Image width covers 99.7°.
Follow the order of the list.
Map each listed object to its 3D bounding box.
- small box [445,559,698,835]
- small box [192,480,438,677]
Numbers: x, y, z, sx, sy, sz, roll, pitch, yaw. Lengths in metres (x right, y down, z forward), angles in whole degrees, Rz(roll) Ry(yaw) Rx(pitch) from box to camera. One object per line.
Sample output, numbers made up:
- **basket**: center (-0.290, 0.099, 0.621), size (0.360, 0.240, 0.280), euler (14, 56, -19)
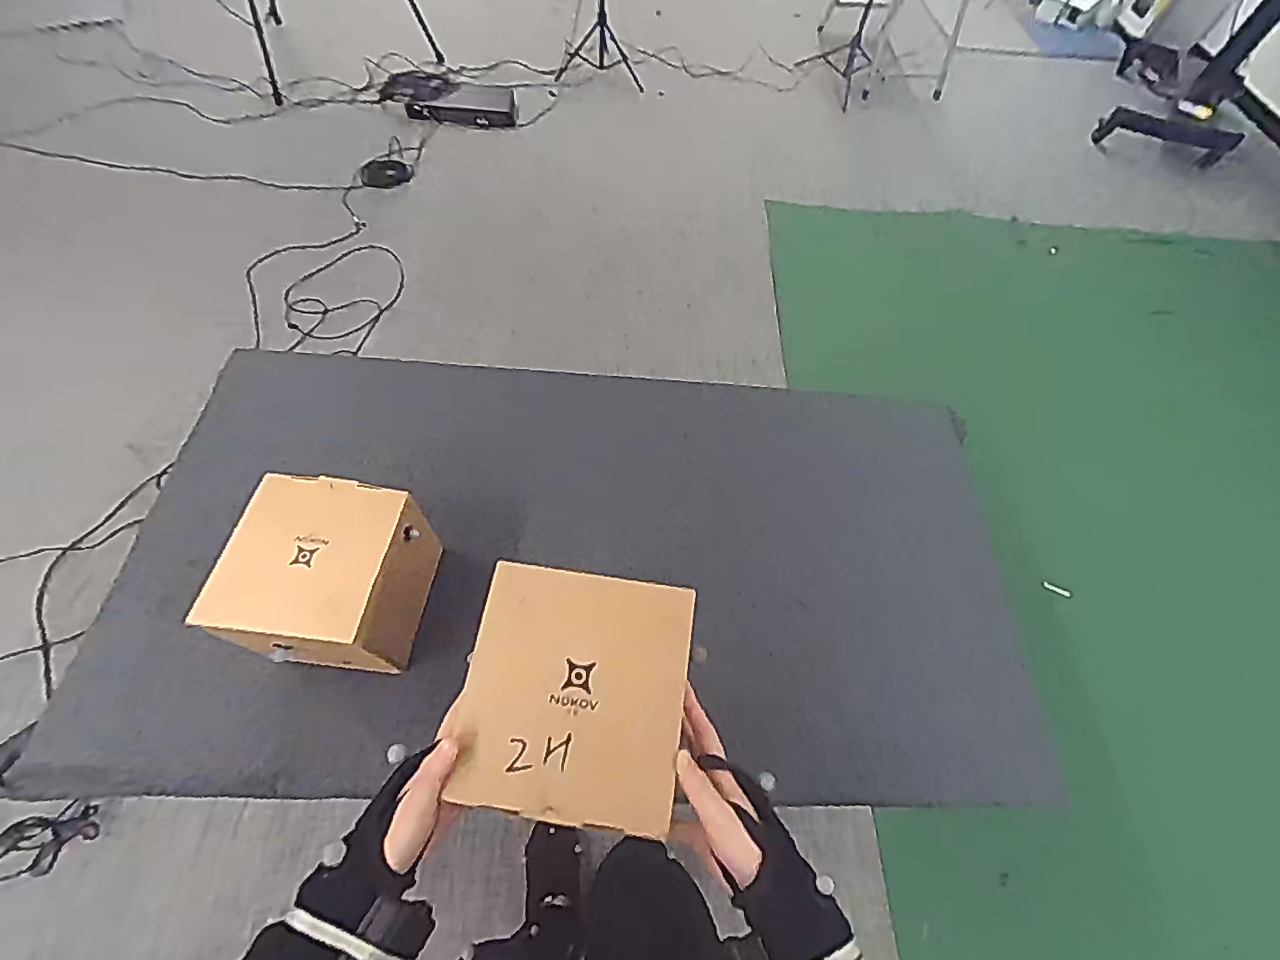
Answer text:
- **small box**: center (-0.048, 0.189, 0.485), size (0.168, 0.176, 0.179), euler (9, 66, 3)
- **small box**: center (-0.357, 0.124, 0.642), size (0.168, 0.176, 0.179), euler (7, 59, -1)
